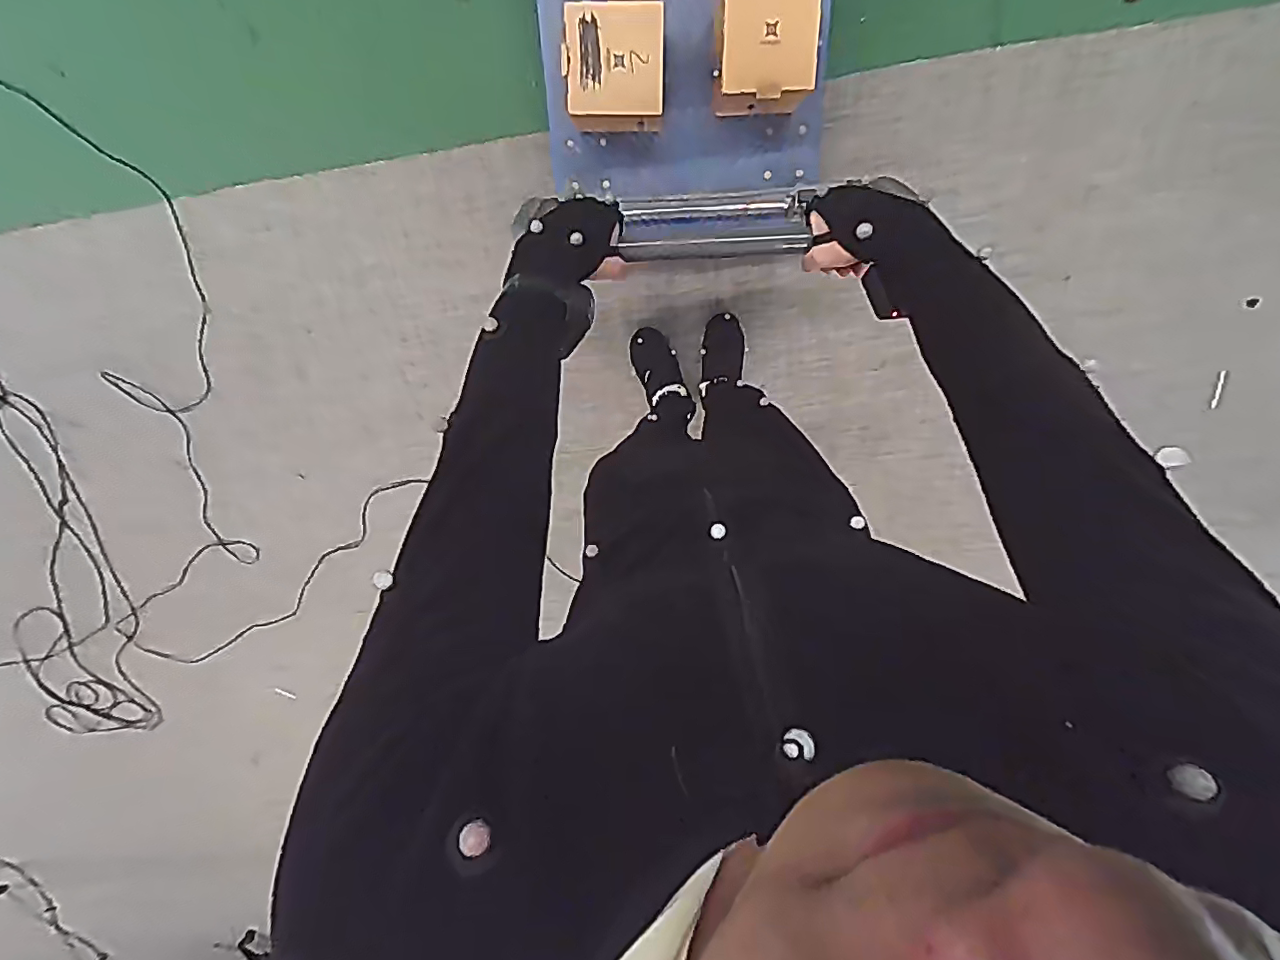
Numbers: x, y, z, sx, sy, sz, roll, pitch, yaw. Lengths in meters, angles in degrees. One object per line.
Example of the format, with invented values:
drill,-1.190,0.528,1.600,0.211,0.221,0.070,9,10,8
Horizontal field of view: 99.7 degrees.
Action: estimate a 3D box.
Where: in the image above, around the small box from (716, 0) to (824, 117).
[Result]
small box,0.234,-0.803,1.012,0.168,0.176,0.179,-2,114,3
